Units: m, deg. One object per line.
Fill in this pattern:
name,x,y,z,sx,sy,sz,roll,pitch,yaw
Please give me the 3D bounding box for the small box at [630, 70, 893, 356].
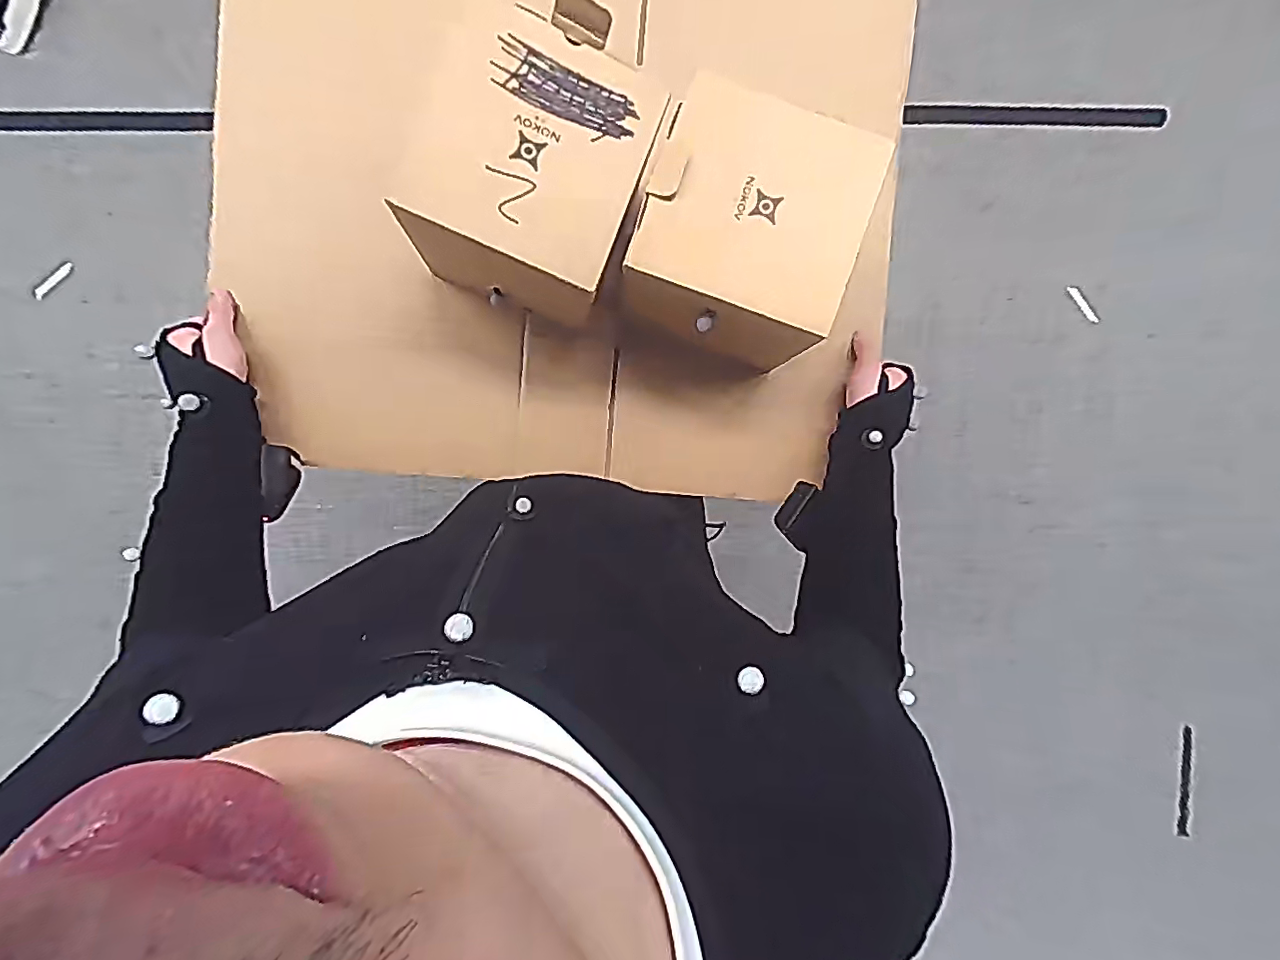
small box,0.098,-0.229,0.519,0.179,0.176,0.168,19,92,-2
